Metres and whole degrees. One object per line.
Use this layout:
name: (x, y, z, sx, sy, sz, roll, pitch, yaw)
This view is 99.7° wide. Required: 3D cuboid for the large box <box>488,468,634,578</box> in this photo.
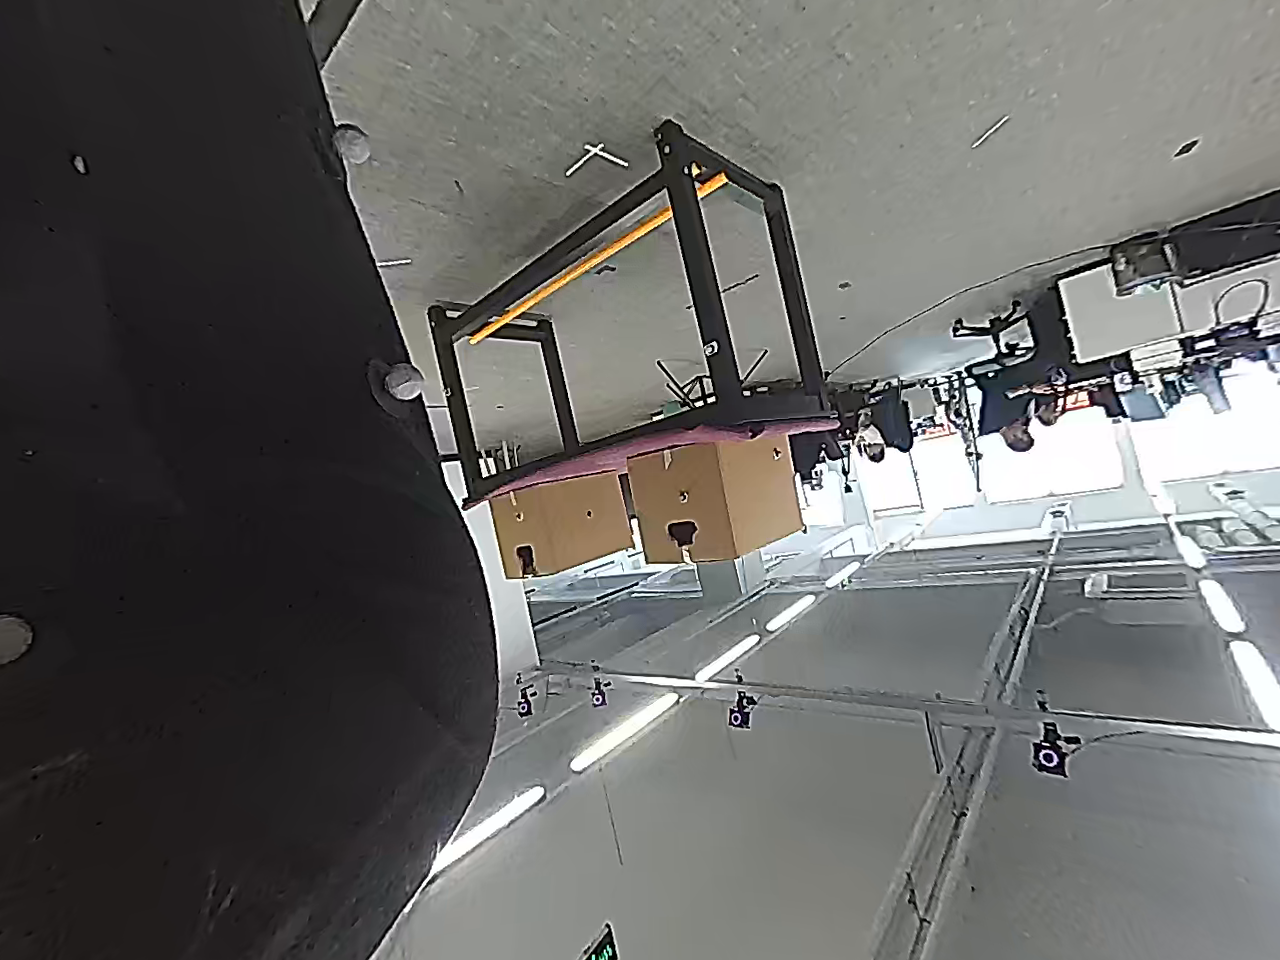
large box: (-0.294, 0.155, 2.029, 0.320, 0.320, 0.408, -13, 180, 41)
